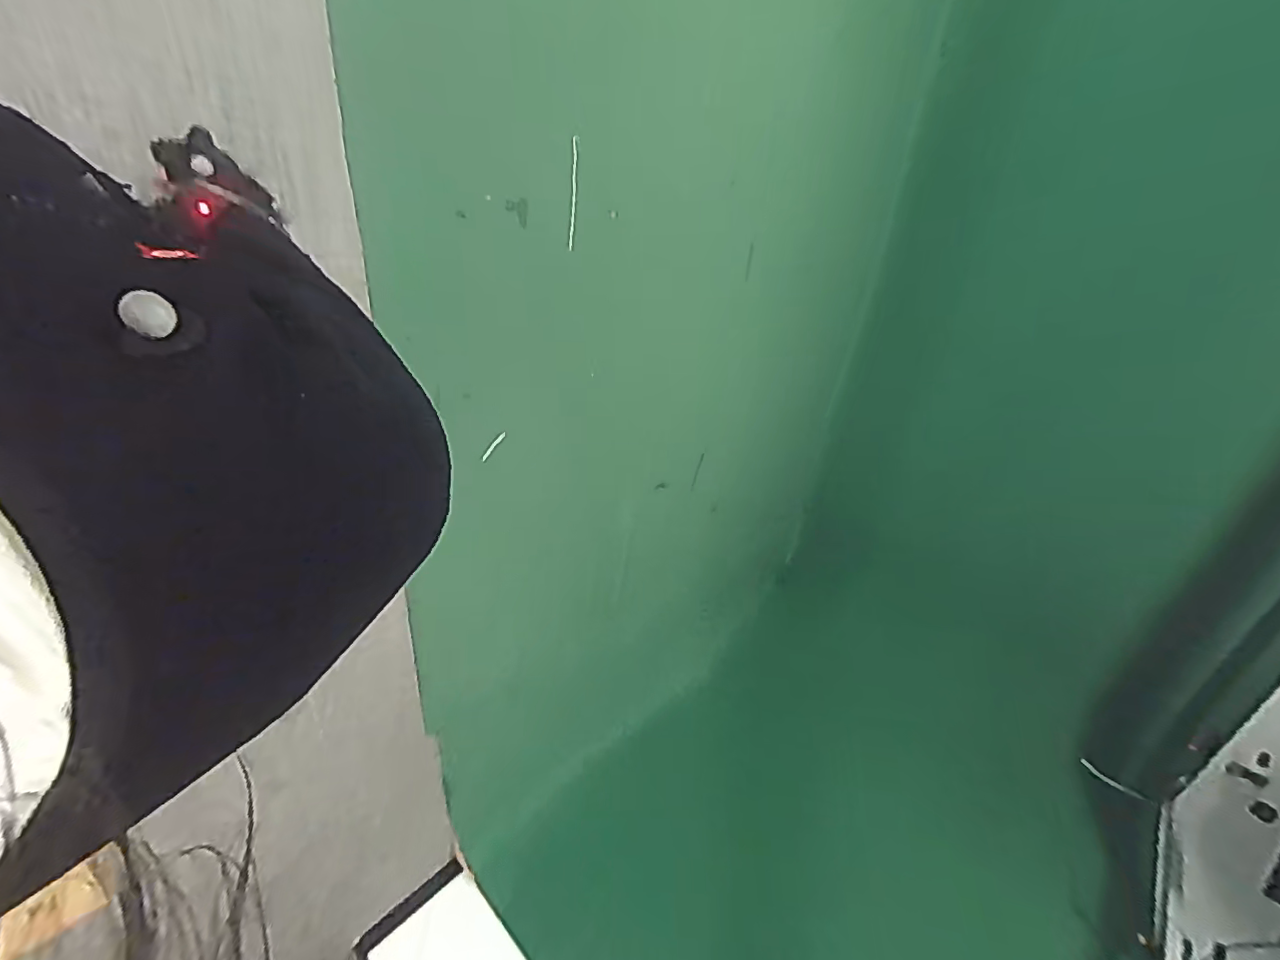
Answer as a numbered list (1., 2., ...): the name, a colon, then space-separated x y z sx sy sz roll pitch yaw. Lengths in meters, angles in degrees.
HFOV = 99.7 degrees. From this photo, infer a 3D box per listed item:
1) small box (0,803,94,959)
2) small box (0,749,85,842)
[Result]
1. small box: -1.226 0.791 1.066 0.168 0.176 0.179 -23 128 -43
2. small box: -1.343 0.722 1.155 0.179 0.176 0.168 -19 127 -43
